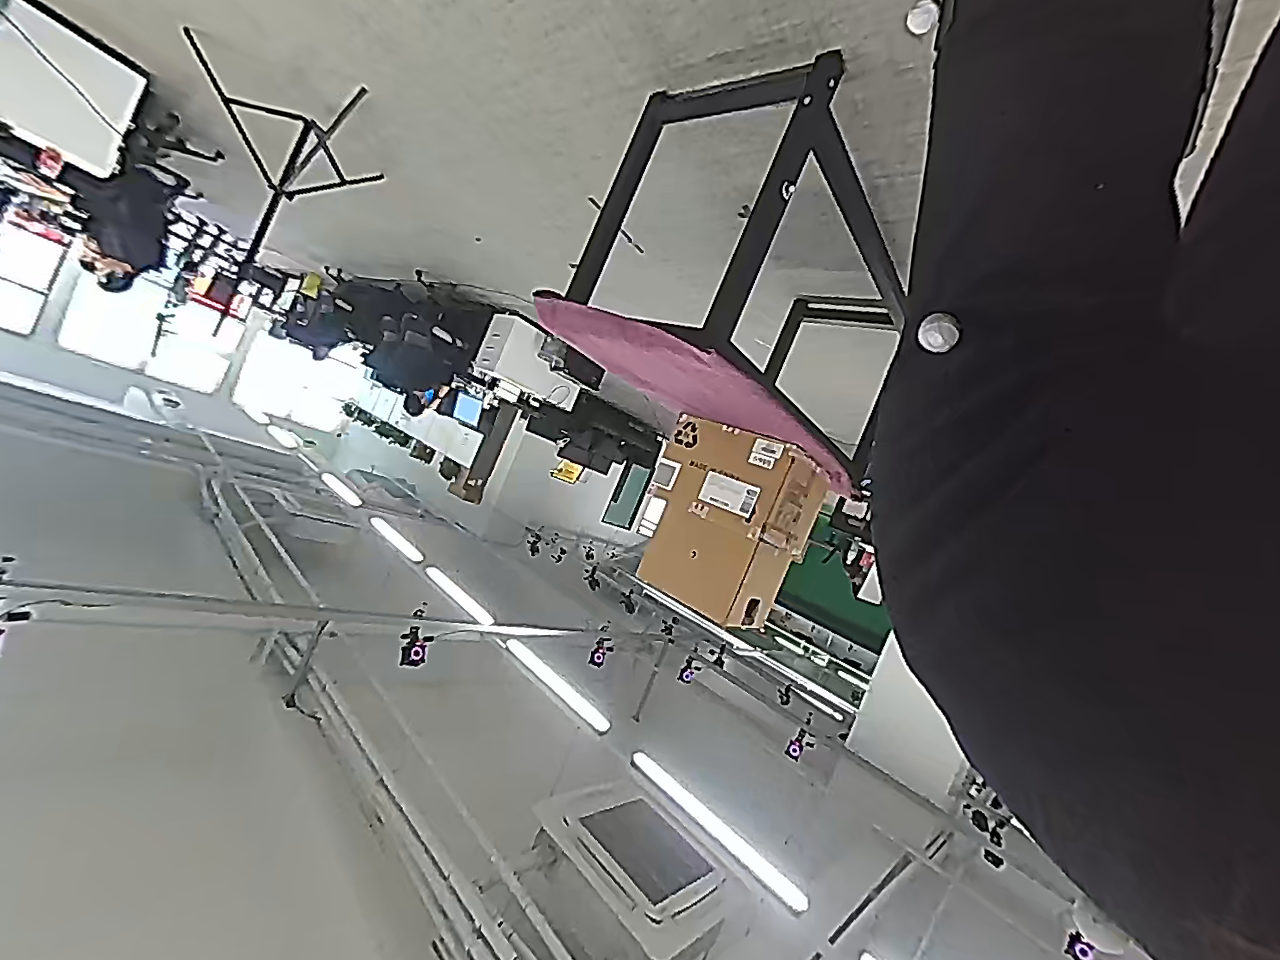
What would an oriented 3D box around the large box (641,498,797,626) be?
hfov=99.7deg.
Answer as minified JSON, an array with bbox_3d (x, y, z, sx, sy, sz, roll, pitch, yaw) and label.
[{"bbox_3d":[0.282,0.289,1.951,0.408,0.320,0.320,22,-179,41],"label":"large box"}]
